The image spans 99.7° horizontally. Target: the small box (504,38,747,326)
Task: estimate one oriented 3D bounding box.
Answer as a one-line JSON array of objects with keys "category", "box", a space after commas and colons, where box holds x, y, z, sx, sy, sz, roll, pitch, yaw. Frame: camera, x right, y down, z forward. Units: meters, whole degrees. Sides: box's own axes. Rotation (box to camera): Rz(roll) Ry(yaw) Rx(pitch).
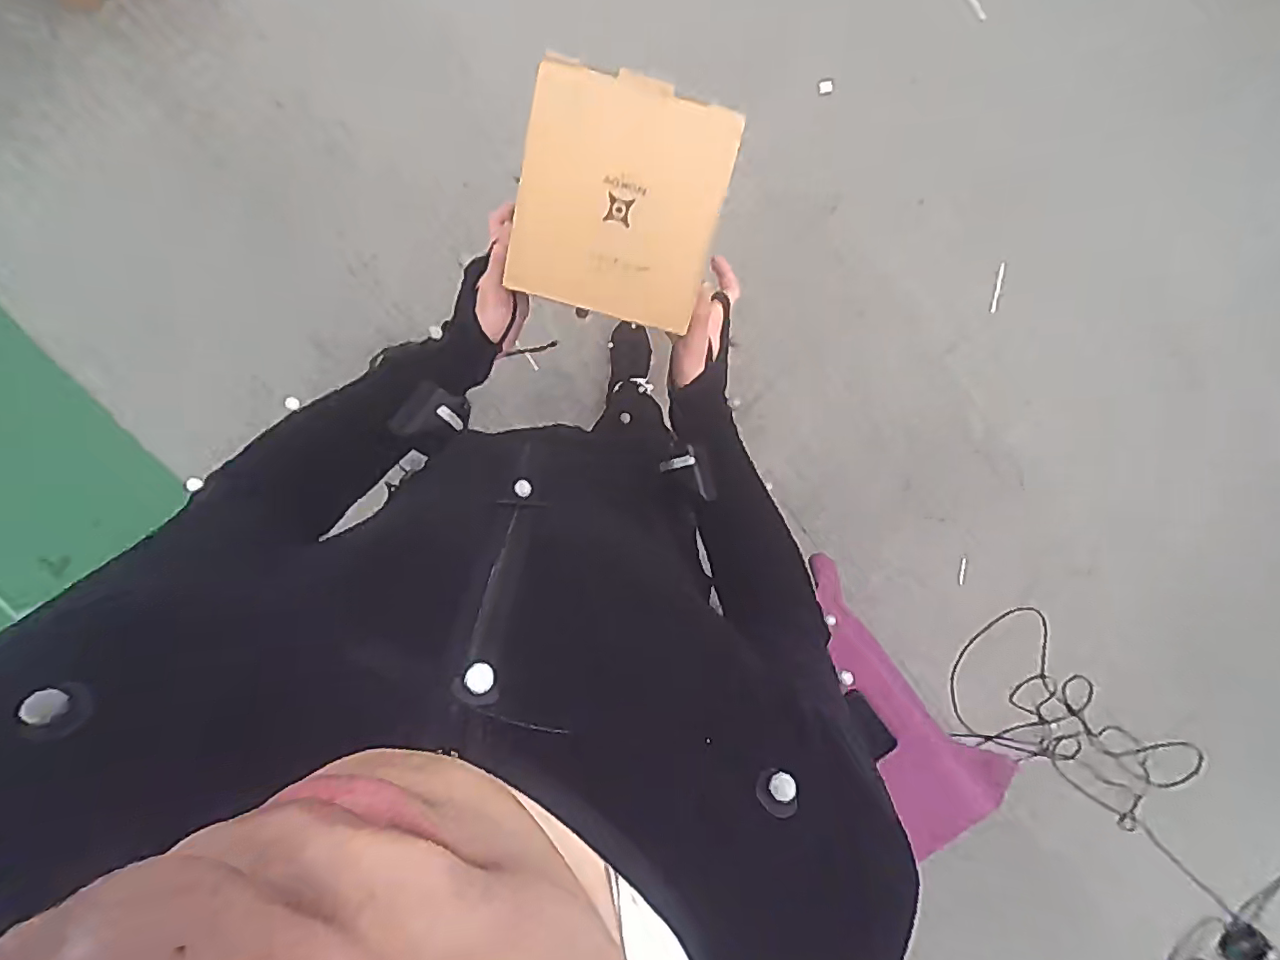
[{"category": "small box", "box": [-0.018, -0.259, 0.510, 0.168, 0.176, 0.179, 13, 110, -6]}]
